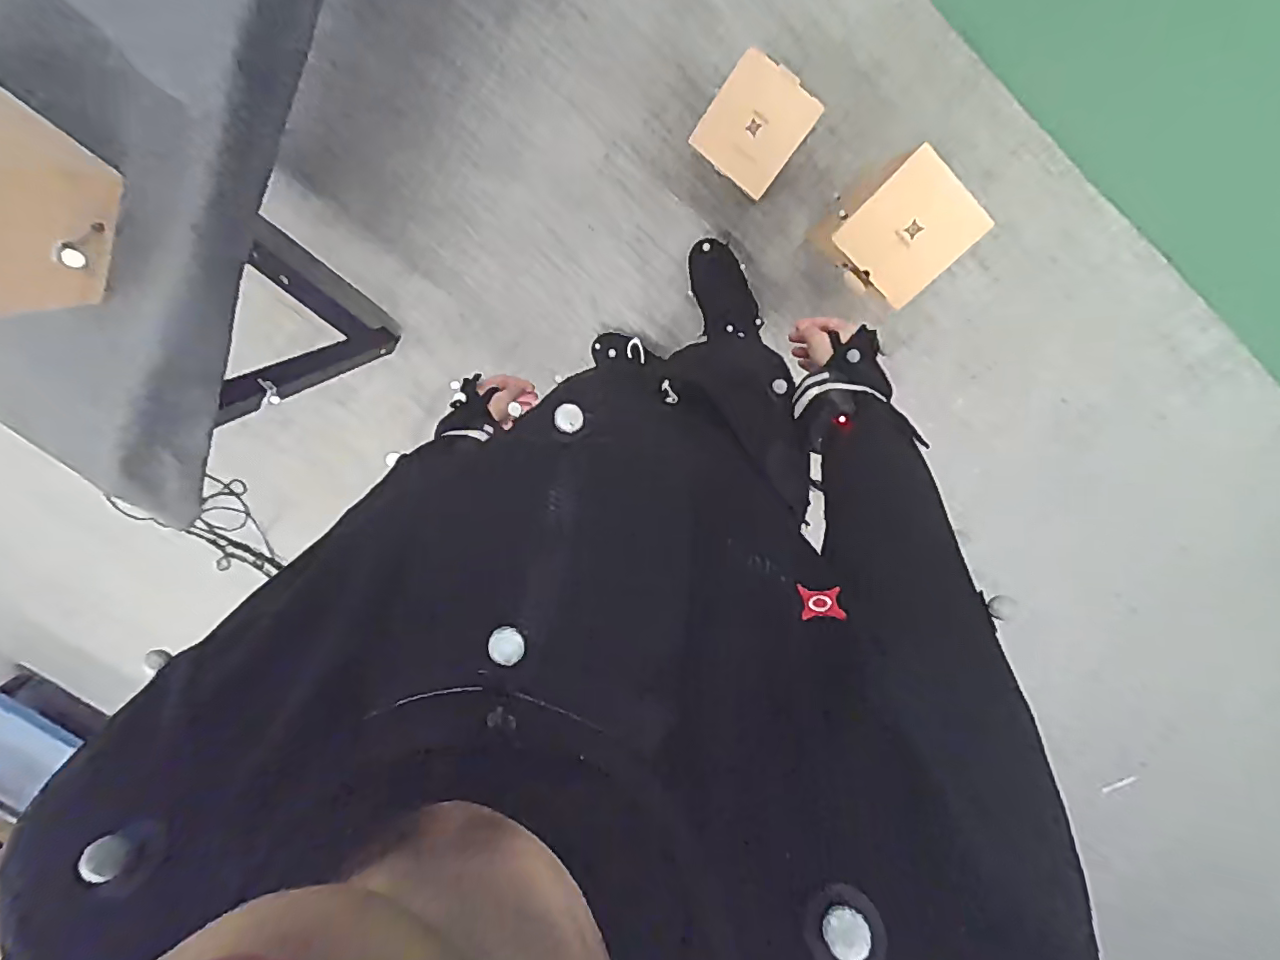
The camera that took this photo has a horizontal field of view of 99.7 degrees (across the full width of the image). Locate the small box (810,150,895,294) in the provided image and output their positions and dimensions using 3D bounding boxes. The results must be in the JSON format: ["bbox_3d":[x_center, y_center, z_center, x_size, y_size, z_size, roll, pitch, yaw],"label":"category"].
[{"bbox_3d":[0.444,-0.489,1.032,0.168,0.176,0.179,39,118,-11],"label":"small box"}]

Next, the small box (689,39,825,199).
[{"bbox_3d":[0.209,-0.647,0.994,0.168,0.176,0.179,36,118,-7],"label":"small box"}]

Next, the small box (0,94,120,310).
[{"bbox_3d":[-0.667,-0.273,0.512,0.179,0.176,0.168,36,117,-9],"label":"small box"}]

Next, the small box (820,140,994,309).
[{"bbox_3d":[0.421,-0.416,0.888,0.168,0.176,0.179,40,116,-11],"label":"small box"}]
